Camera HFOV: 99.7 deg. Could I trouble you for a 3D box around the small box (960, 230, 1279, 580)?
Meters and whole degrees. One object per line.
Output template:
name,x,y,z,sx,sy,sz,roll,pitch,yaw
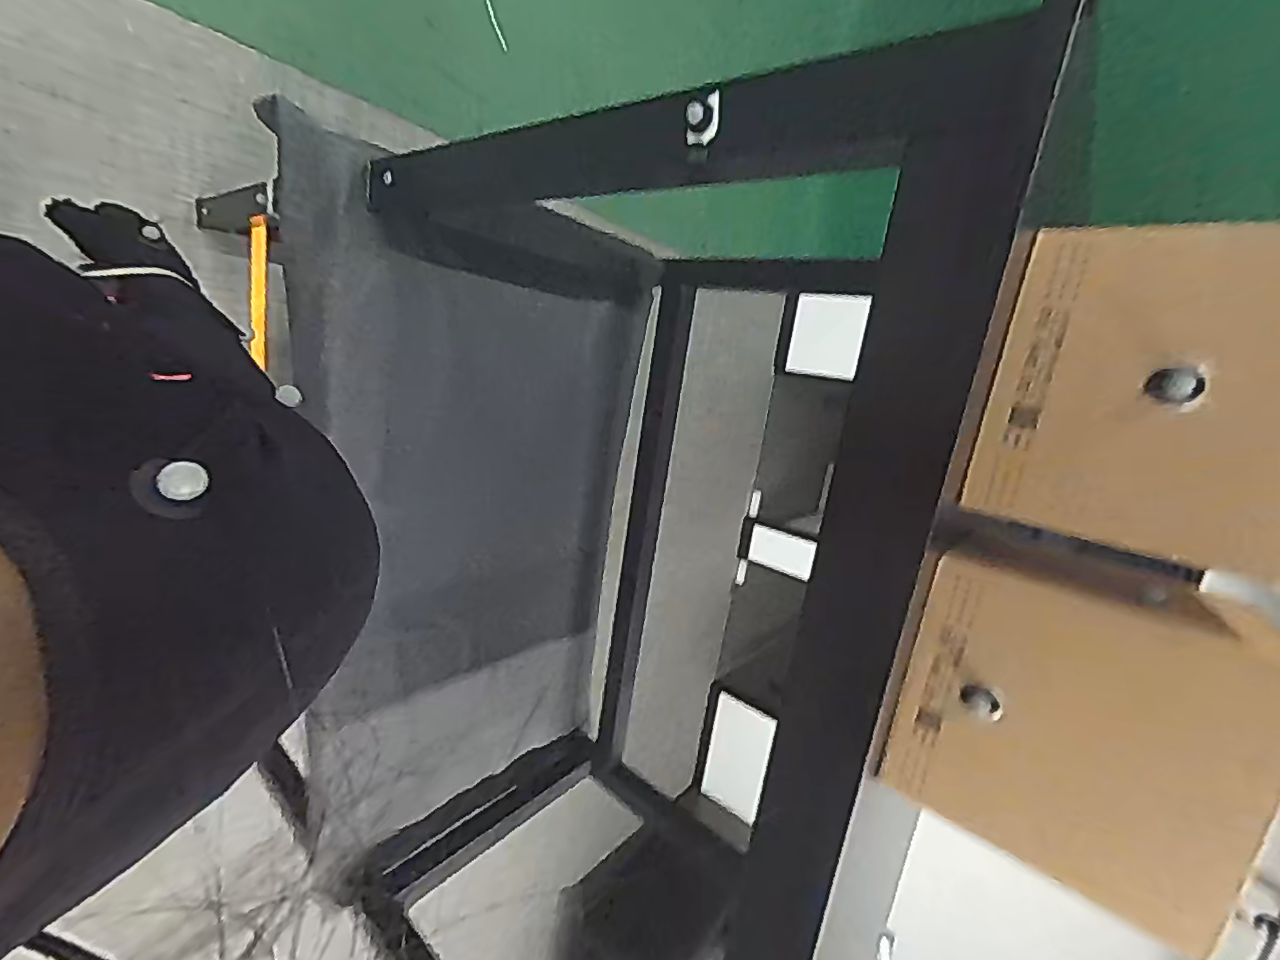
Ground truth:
small box,0.322,-0.049,0.341,0.179,0.176,0.168,-7,111,-51
